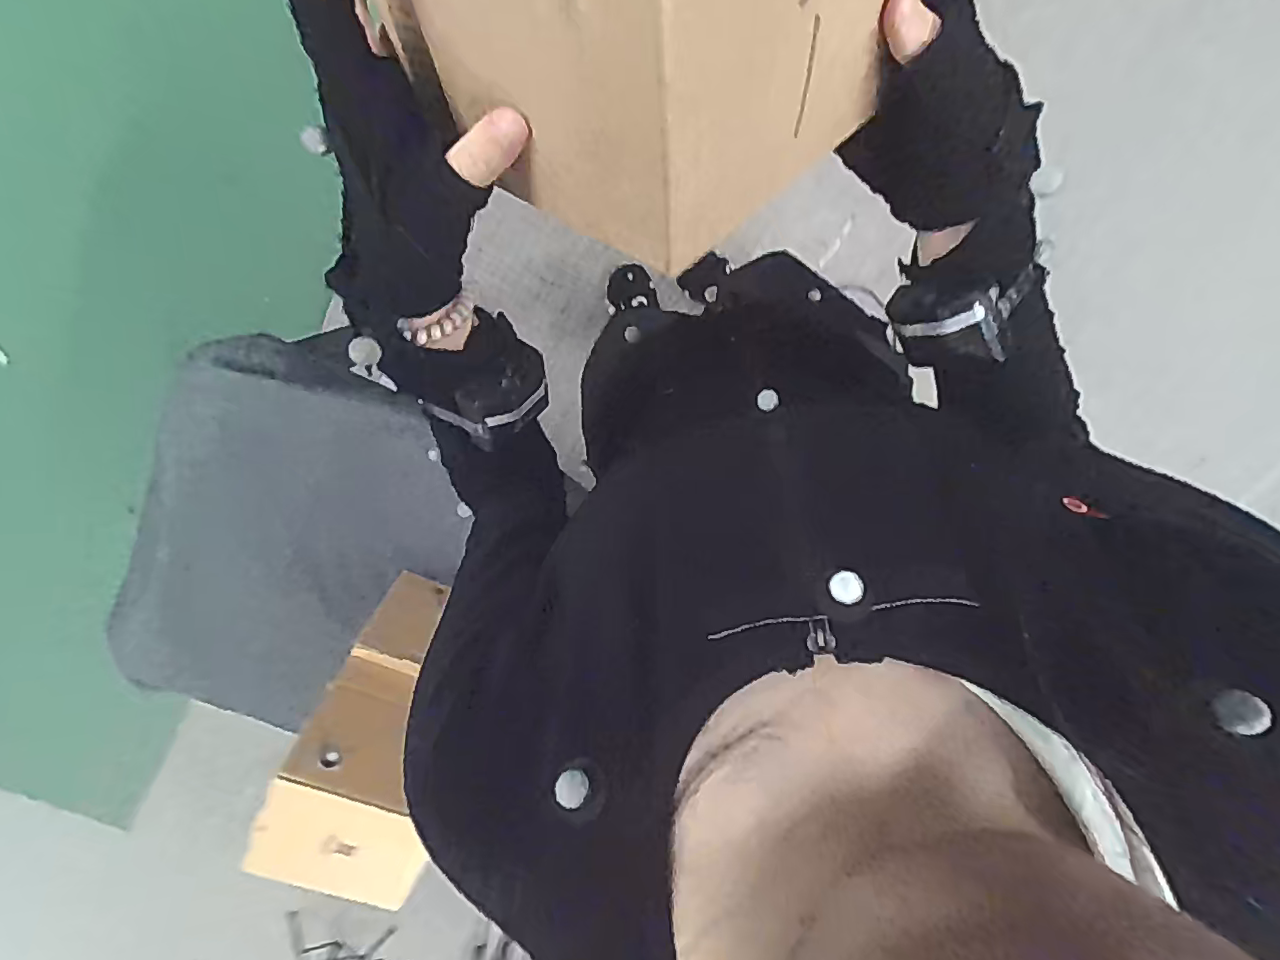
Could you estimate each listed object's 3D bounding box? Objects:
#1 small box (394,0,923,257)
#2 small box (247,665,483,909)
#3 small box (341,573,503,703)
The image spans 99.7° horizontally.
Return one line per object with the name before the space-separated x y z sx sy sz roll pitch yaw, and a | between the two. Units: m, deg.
small box | 0.003 -0.228 0.204 0.168 0.176 0.179 -43 154 -19
small box | -0.305 0.349 0.632 0.179 0.176 0.168 25 111 -12
small box | -0.312 0.269 0.775 0.168 0.176 0.179 26 111 -13
